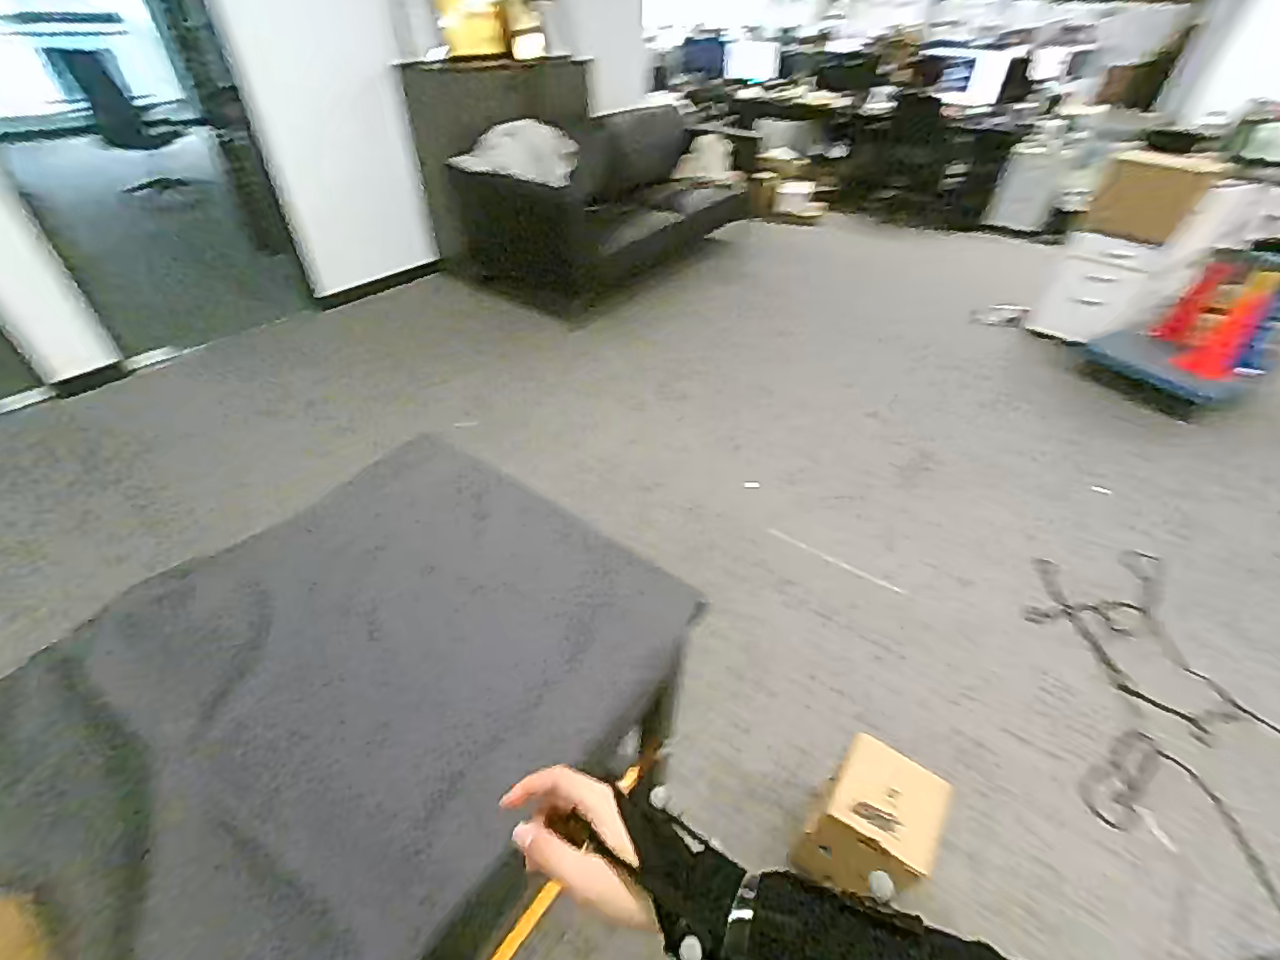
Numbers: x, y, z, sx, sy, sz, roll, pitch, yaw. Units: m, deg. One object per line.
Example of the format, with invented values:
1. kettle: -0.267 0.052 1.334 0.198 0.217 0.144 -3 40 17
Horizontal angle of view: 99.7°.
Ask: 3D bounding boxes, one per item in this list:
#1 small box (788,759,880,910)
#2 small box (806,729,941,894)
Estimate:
1. small box: 0.424 0.732 1.119 0.168 0.176 0.179 27 46 27
2. small box: 0.425 0.615 1.003 0.168 0.176 0.179 26 45 25
